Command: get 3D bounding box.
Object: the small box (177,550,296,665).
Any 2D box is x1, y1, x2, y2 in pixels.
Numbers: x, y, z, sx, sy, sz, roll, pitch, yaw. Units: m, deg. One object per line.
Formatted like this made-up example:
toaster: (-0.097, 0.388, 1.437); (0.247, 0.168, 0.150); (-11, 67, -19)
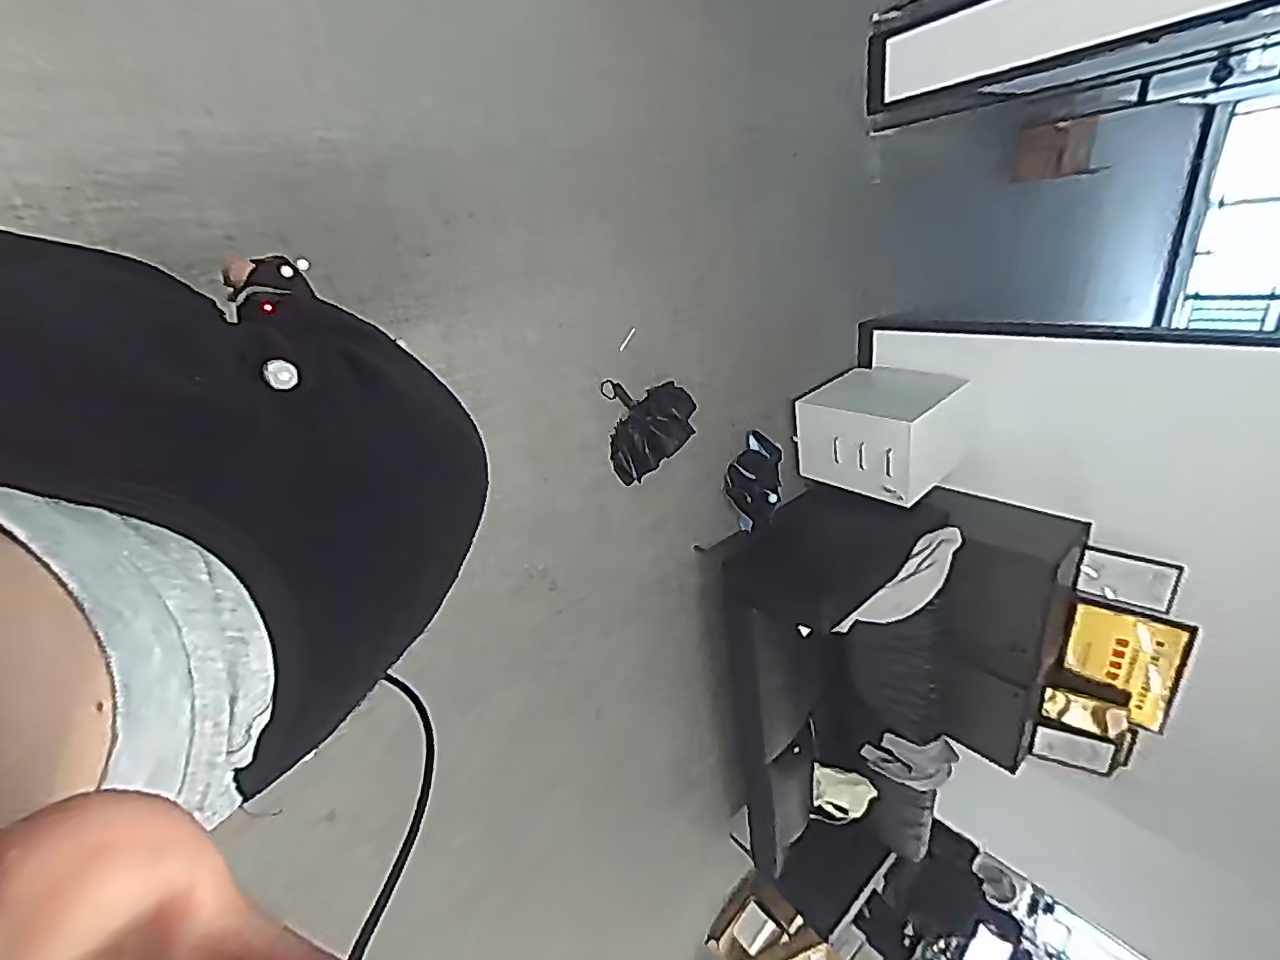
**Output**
small box: (-0.967, 0.299, 1.300); (0.168, 0.176, 0.179); (-32, 122, -29)
